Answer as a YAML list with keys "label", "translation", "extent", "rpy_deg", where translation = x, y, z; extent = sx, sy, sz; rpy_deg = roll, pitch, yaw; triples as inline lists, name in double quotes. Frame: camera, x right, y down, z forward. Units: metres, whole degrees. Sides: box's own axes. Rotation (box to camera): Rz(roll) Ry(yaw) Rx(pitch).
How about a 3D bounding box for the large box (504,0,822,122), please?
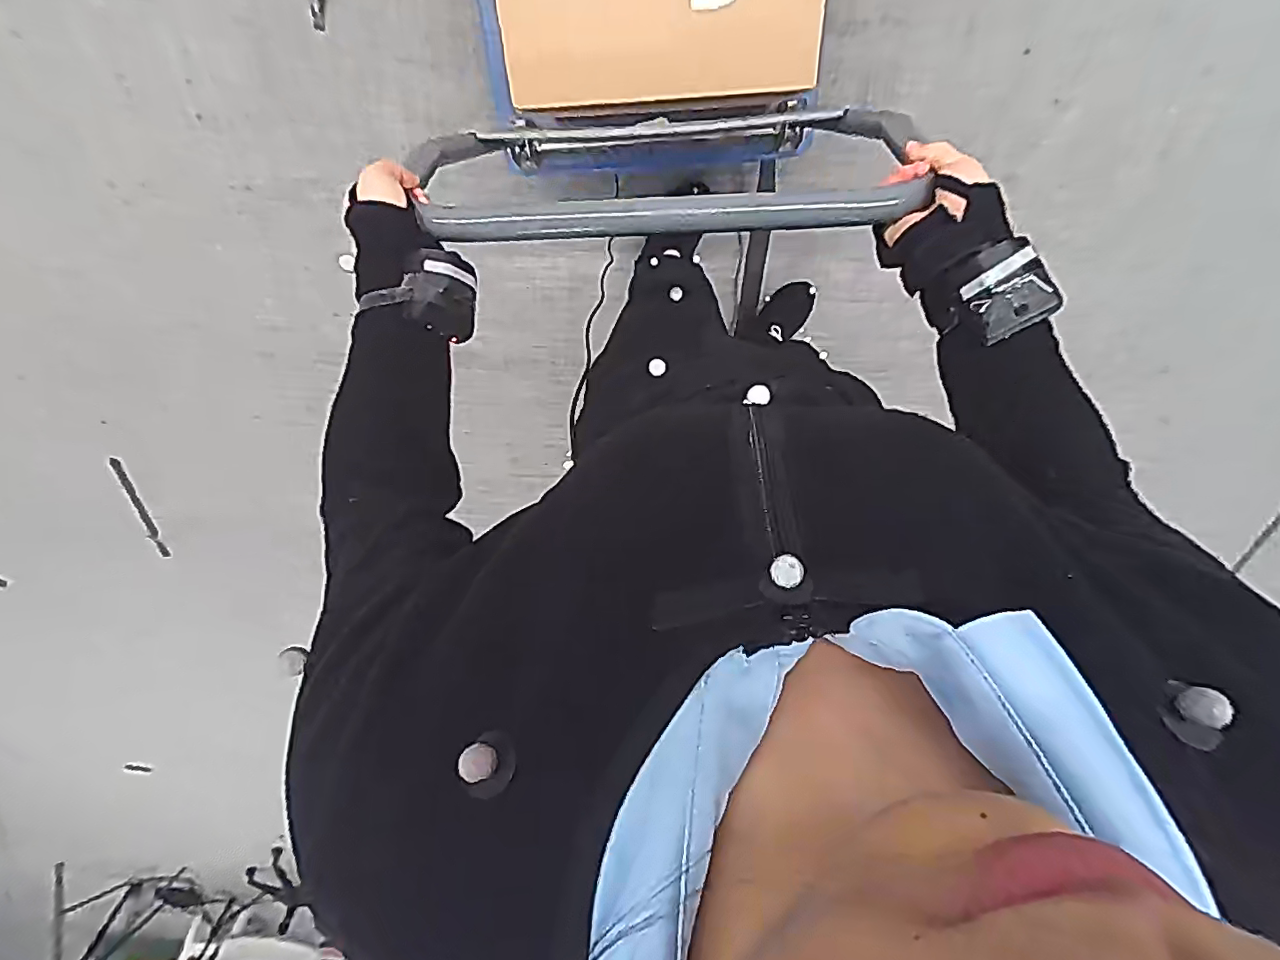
- label: "large box"
  translation: [0.024, -0.718, 0.773]
  extent: [0.408, 0.320, 0.320]
  rpy_deg: [-3, 123, 2]
